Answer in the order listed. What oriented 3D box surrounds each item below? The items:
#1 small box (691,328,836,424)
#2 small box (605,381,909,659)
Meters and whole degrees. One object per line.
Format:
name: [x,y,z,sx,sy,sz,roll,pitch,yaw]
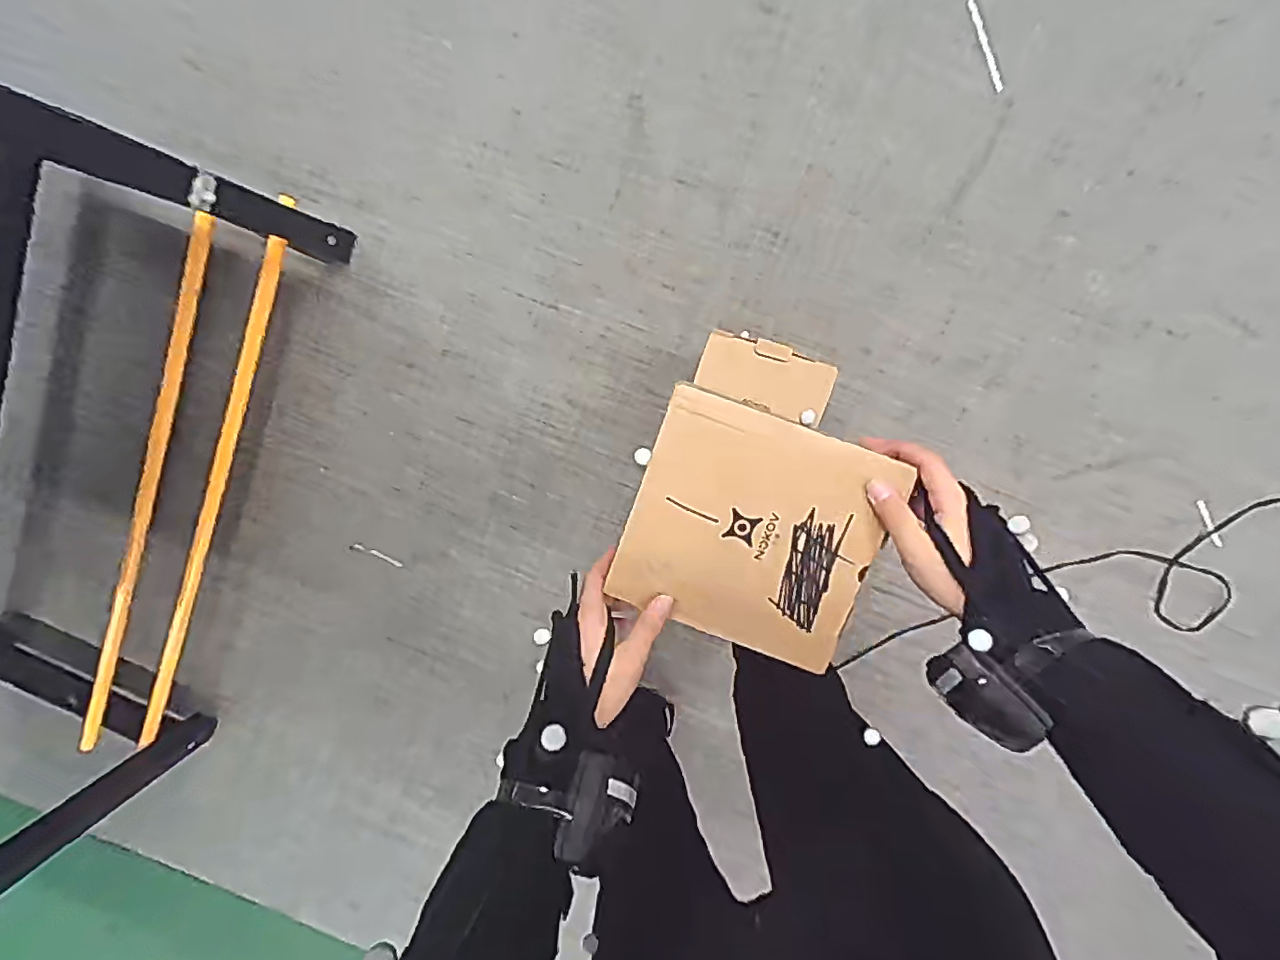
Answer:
small box: [0.146,-0.098,0.757,0.168,0.176,0.179,19,103,3]
small box: [0.089,0.018,0.470,0.179,0.176,0.168,20,102,3]
